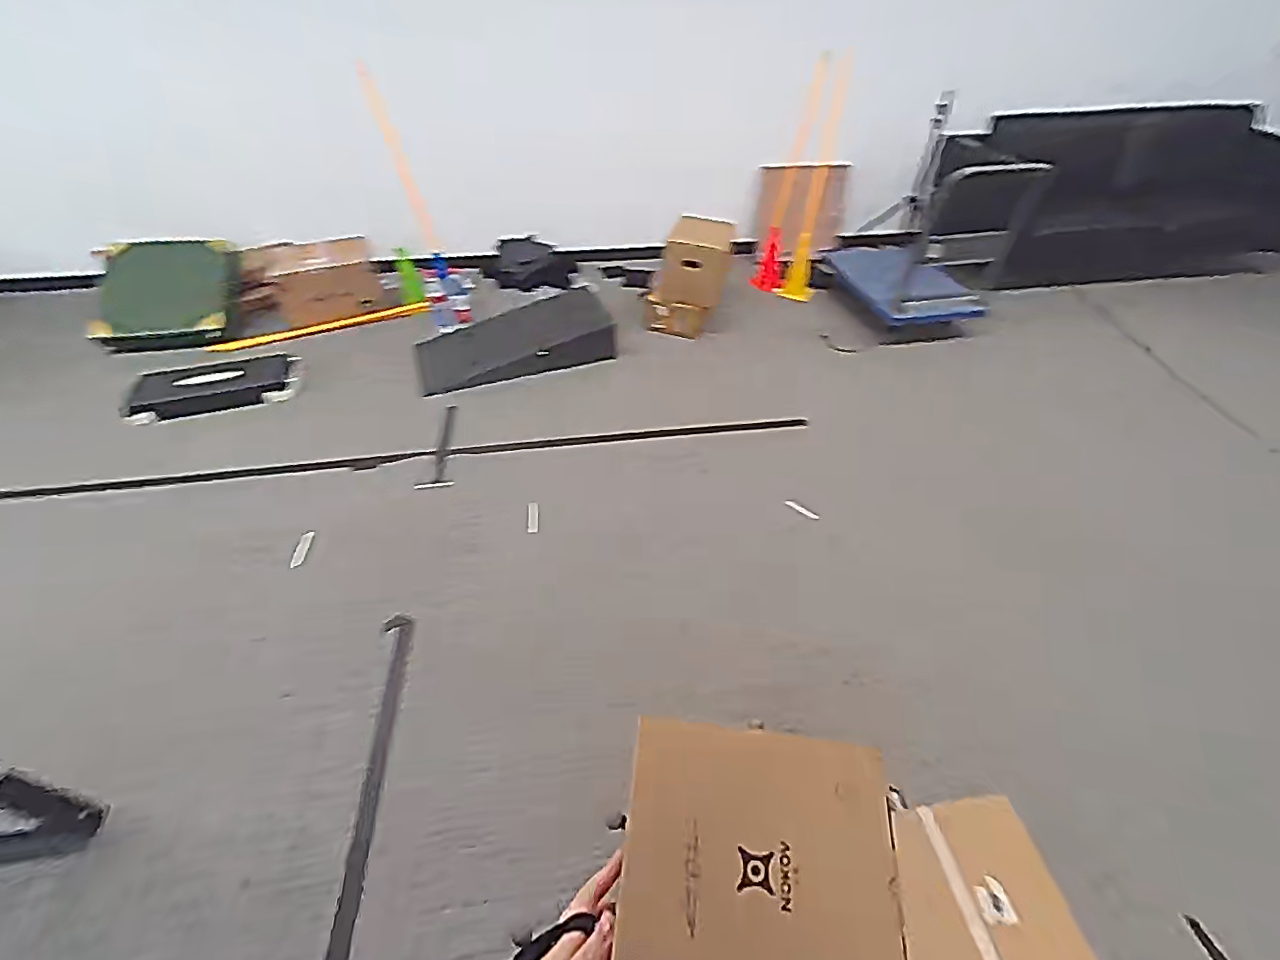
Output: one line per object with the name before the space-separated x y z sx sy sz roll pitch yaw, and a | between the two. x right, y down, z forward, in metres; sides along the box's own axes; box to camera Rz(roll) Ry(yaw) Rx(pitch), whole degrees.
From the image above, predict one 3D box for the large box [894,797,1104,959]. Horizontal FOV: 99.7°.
large box | 0.498 0.787 0.847 0.320 0.320 0.408 -4 43 -5
